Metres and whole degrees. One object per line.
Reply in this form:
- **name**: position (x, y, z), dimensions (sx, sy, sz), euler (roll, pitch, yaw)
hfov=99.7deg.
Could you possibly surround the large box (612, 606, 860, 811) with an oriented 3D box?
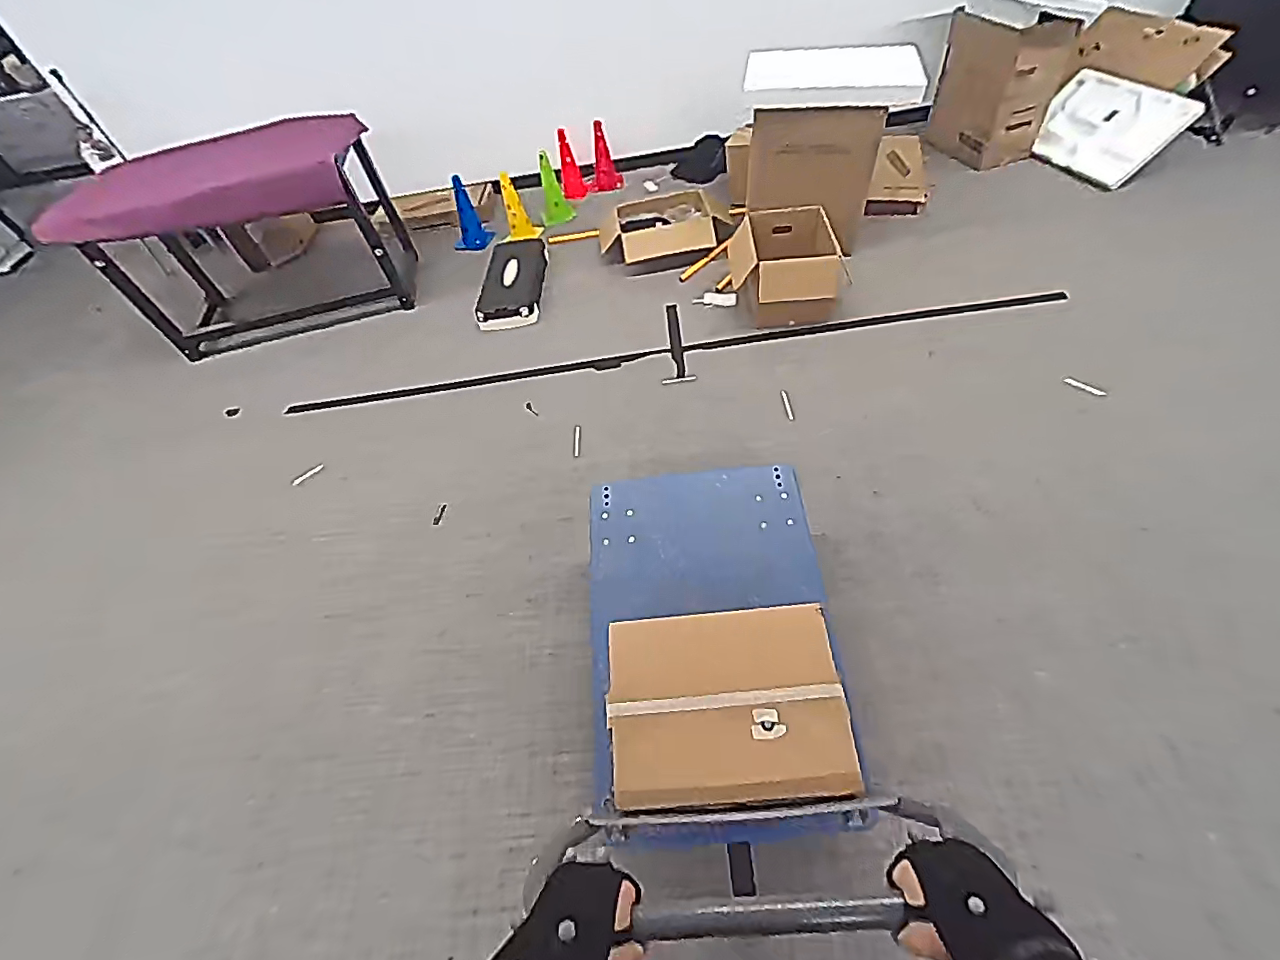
- **large box**: position (0.167, 0.471, 1.092), dimensions (0.408, 0.320, 0.320), euler (-6, 59, 3)
